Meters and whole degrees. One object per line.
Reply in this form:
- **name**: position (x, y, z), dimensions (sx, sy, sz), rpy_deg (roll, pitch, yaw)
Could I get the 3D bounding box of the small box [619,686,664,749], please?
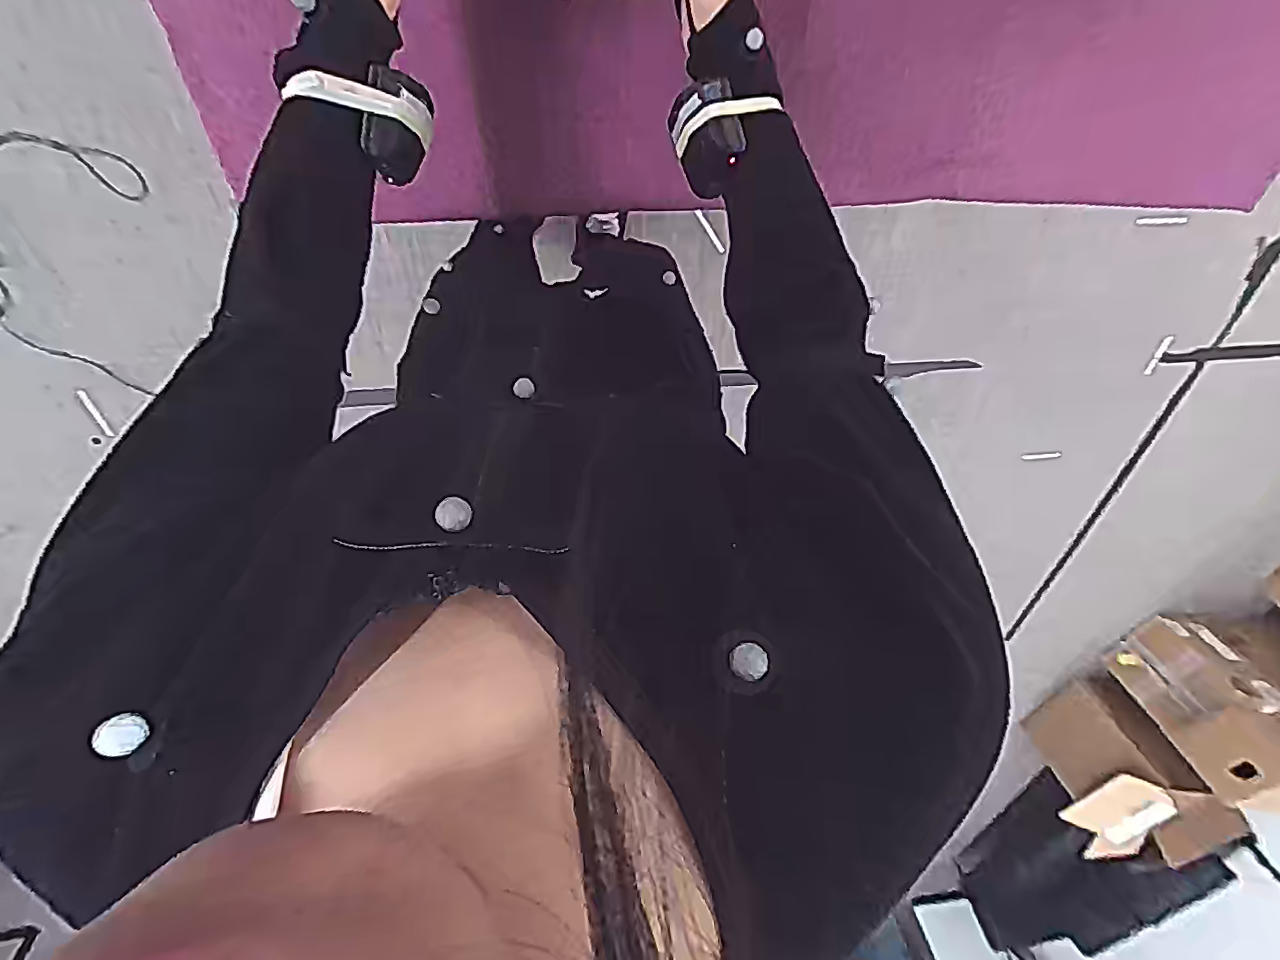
- **small box**: position (0.007, 0.986, 2.245), dimensions (0.168, 0.176, 0.179), rpy_deg (-9, 130, -3)
